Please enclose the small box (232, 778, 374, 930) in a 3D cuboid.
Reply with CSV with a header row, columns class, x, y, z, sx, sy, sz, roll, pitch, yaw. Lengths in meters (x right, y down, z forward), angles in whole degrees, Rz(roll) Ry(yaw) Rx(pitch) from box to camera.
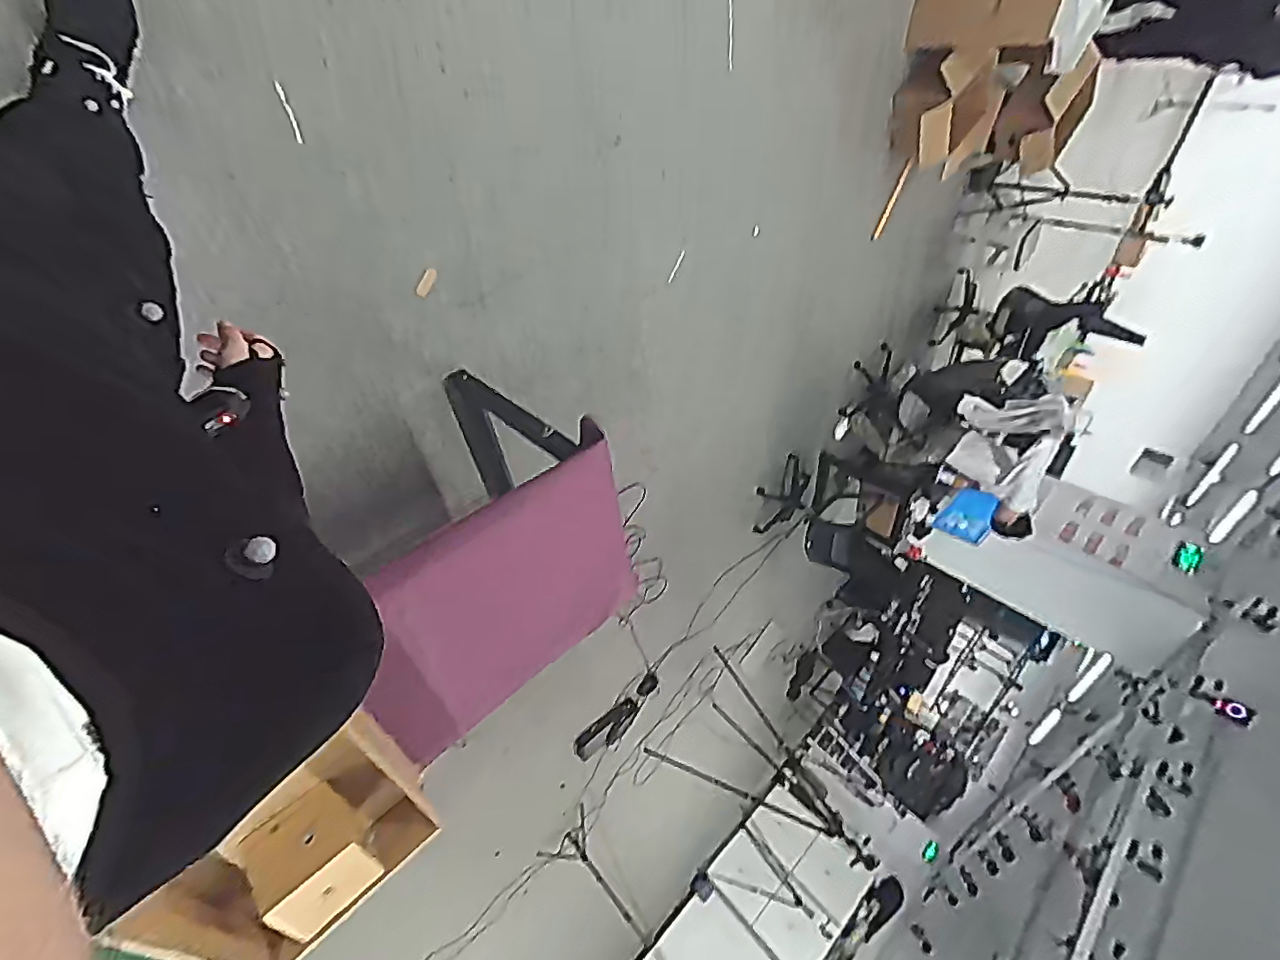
class,x,y,z,sx,sy,sz,roll,pitch,yaw
small box,-0.680,0.745,1.093,0.168,0.176,0.179,-34,139,-31
